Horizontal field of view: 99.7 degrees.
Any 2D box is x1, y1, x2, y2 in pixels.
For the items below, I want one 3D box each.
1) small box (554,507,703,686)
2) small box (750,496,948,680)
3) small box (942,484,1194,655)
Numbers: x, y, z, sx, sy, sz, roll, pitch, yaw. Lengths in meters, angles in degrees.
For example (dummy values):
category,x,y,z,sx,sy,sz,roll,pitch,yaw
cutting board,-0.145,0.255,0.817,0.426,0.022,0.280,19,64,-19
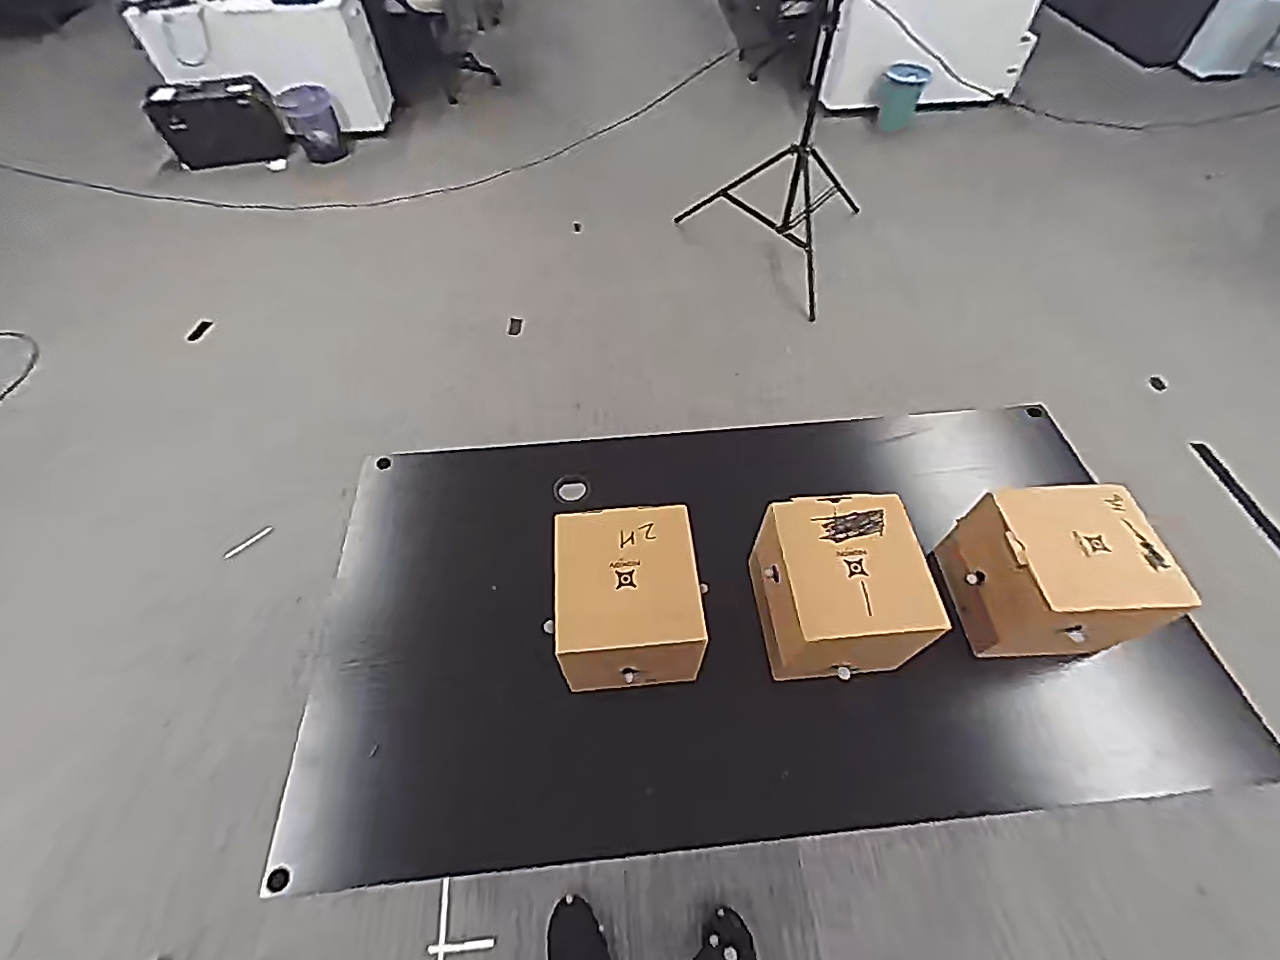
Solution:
category,x,y,z,sx,sy,sz,roll,pitch,yaw
small box,-0.016,0.155,0.690,0.168,0.176,0.179,-4,55,-3
small box,0.248,0.142,0.697,0.168,0.176,0.179,-5,56,-2
small box,0.528,0.122,0.708,0.179,0.176,0.168,-3,55,0
